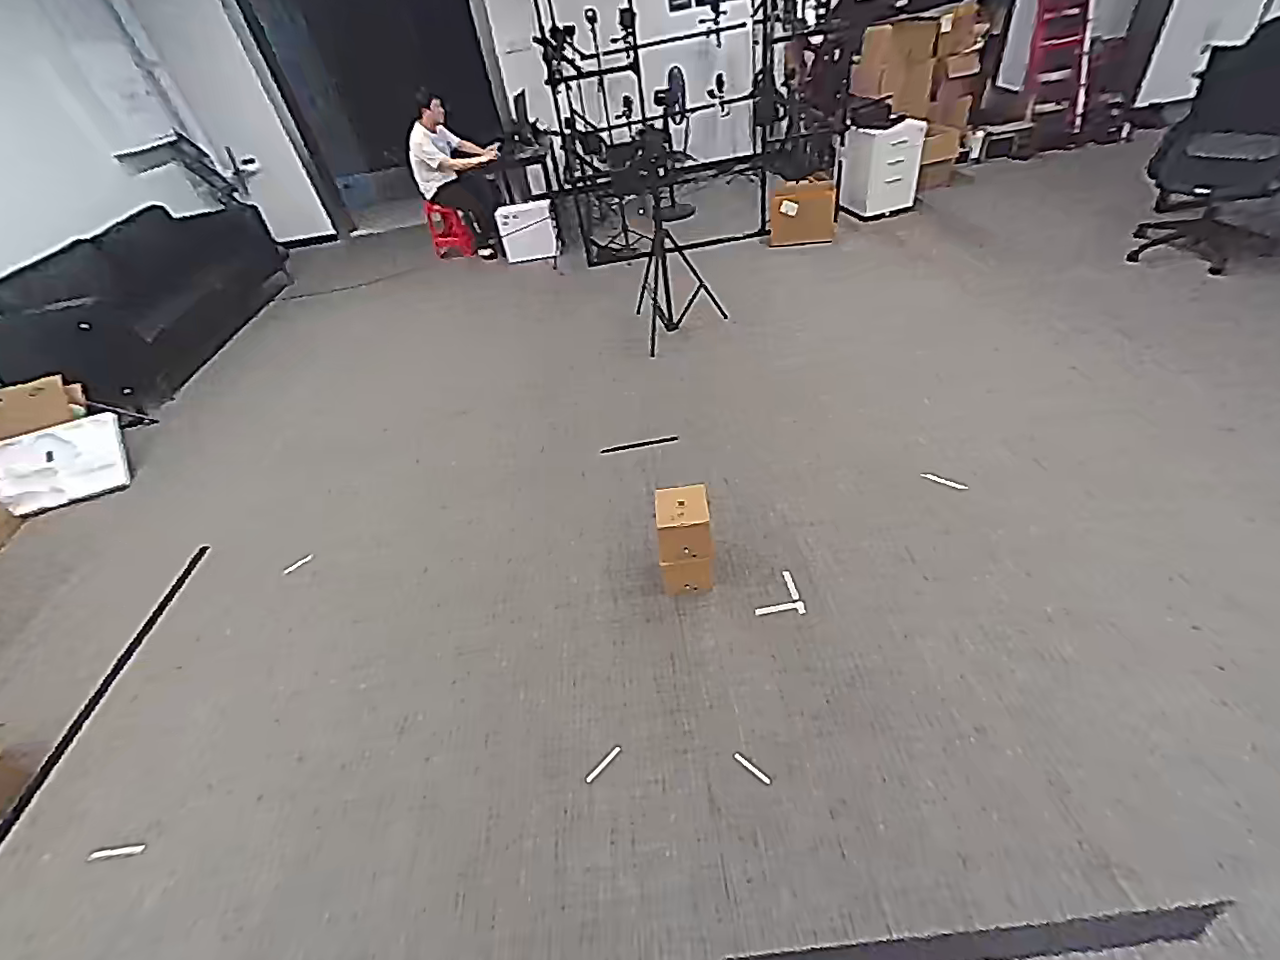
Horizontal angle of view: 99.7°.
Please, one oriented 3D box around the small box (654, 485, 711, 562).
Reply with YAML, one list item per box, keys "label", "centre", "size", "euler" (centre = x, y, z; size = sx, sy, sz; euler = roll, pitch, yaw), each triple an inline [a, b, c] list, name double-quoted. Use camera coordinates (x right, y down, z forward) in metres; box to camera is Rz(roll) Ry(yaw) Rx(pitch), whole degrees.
- label: "small box"
  centre: [0.136, 0.143, 1.757]
  size: [0.168, 0.176, 0.179]
  euler: [-8, 41, 6]
